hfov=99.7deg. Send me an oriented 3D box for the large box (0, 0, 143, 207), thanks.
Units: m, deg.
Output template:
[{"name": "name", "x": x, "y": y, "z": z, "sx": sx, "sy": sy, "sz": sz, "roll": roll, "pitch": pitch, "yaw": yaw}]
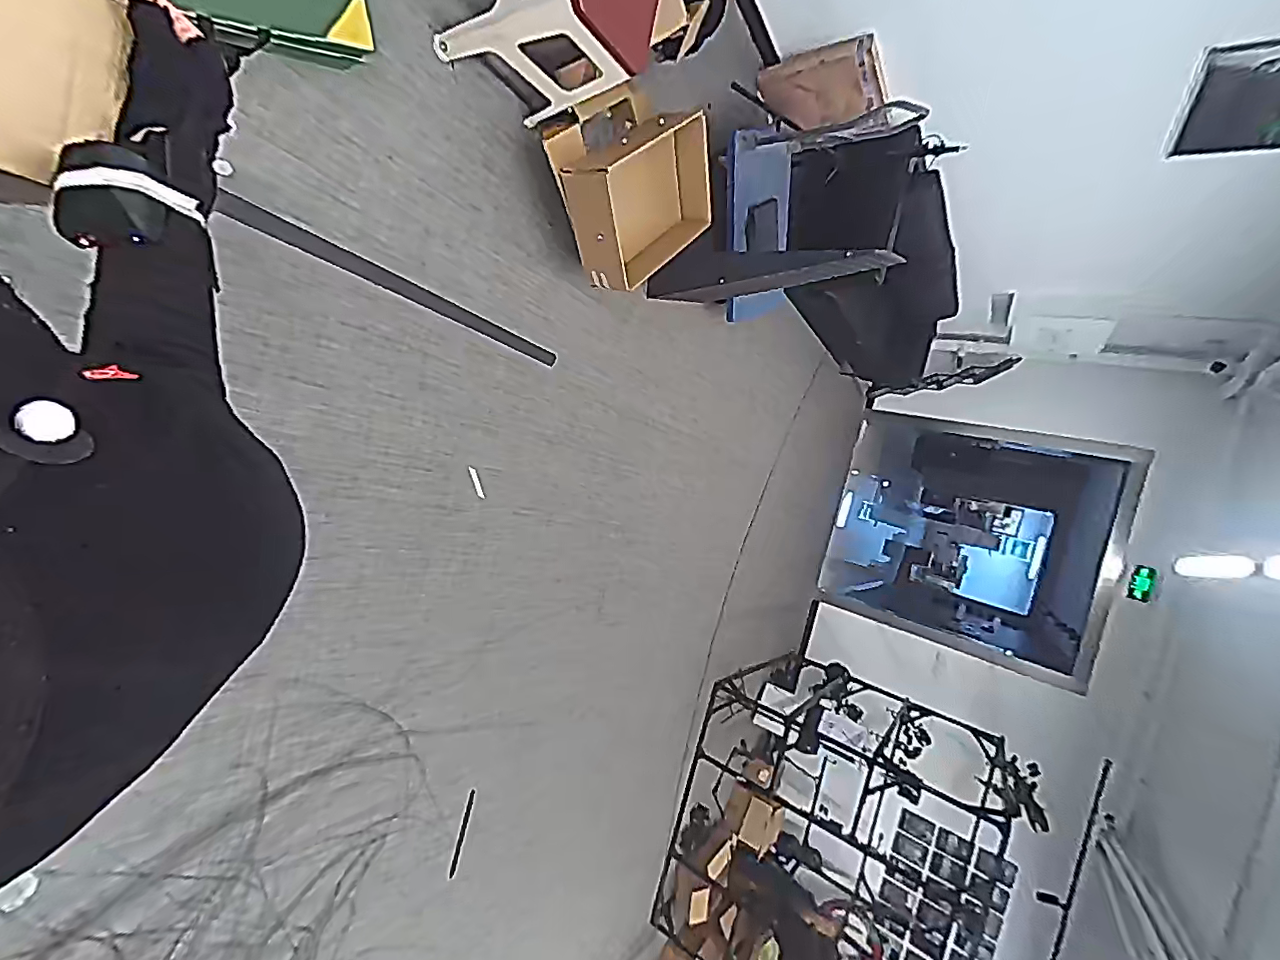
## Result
[{"name": "large box", "x": -0.622, "y": -0.411, "z": 0.326, "sx": 0.408, "sy": 0.320, "sz": 0.320, "roll": 3, "pitch": 103, "yaw": -62}]
